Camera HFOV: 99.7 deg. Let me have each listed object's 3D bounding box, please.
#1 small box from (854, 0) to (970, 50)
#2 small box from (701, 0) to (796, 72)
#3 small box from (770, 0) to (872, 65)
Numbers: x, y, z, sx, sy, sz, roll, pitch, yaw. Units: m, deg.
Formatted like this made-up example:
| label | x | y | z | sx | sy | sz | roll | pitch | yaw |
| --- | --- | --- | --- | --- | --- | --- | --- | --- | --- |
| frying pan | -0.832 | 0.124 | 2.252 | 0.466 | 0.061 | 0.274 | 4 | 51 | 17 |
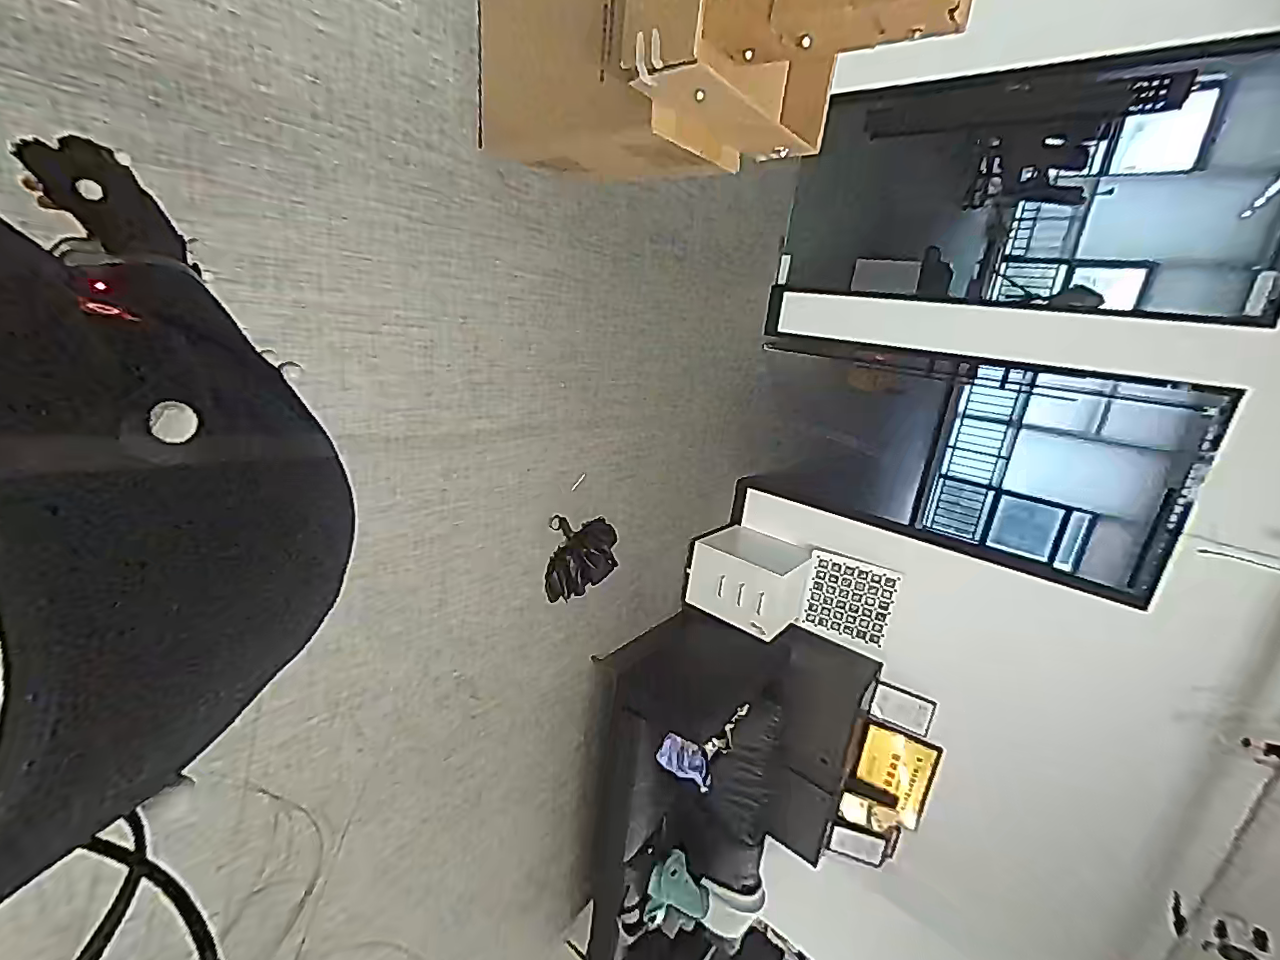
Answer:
| label | x | y | z | sx | sy | sz | roll | pitch | yaw |
| --- | --- | --- | --- | --- | --- | --- | --- | --- | --- |
| small box | 0.504 | -0.925 | 0.985 | 0.168 | 0.176 | 0.179 | -19 | 120 | -52 |
| small box | 0.249 | -1.015 | 1.167 | 0.168 | 0.176 | 0.179 | -18 | 121 | -52 |
| small box | 0.376 | -0.969 | 1.074 | 0.168 | 0.176 | 0.179 | -14 | 118 | -52 |
